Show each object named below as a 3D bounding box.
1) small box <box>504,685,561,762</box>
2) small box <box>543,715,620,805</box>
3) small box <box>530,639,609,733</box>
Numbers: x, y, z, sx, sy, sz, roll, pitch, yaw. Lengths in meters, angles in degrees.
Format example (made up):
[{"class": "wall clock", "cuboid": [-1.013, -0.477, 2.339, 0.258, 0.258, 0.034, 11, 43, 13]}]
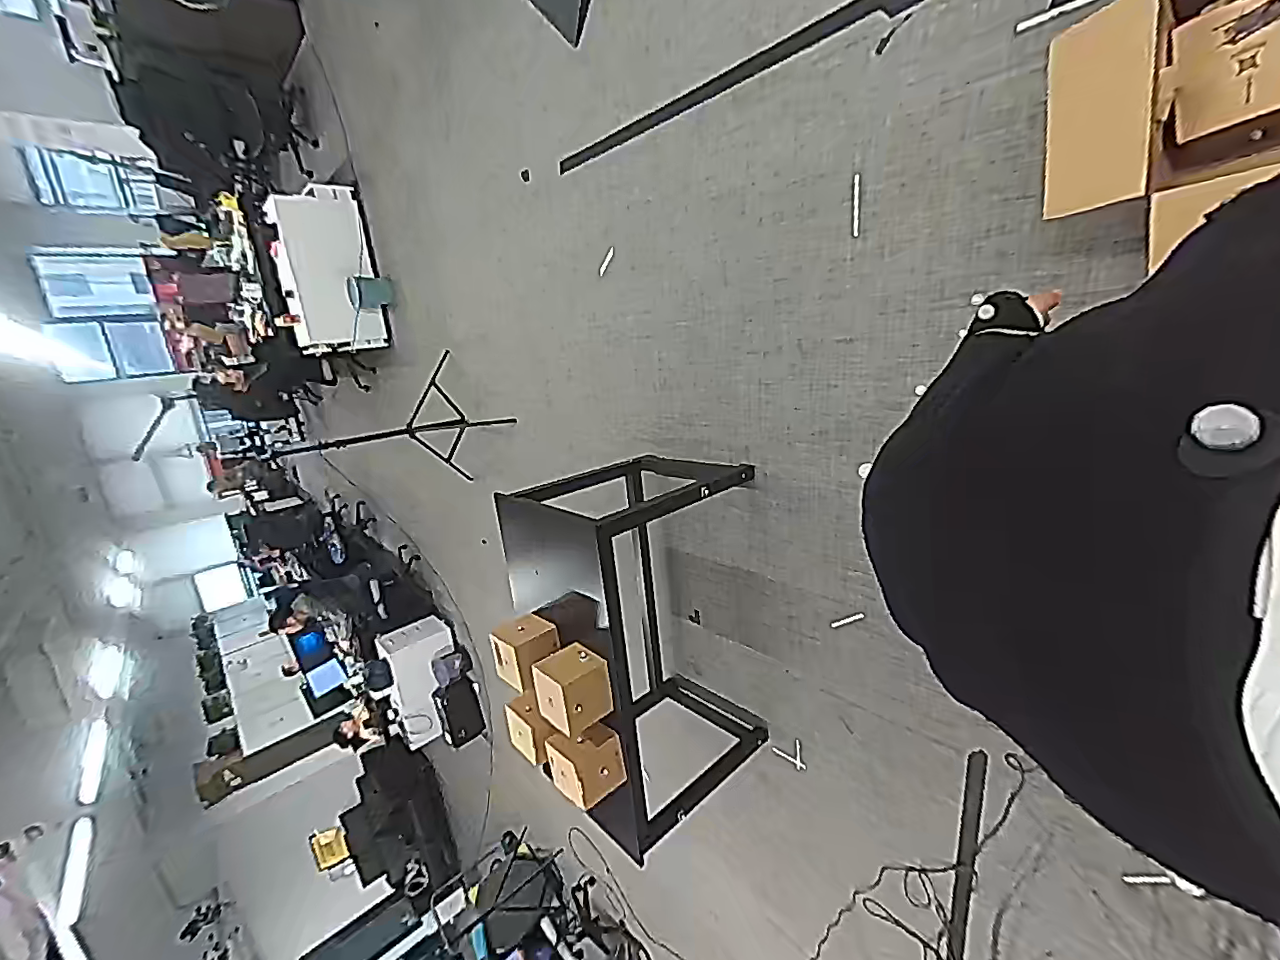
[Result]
[{"class": "small box", "cuboid": [-0.353, 0.836, 1.898, 0.179, 0.176, 0.168, 13, 114, 47]}, {"class": "small box", "cuboid": [-0.176, 0.863, 1.695, 0.179, 0.176, 0.168, 2, 106, 49]}, {"class": "small box", "cuboid": [-0.208, 0.614, 1.636, 0.168, 0.176, 0.179, 10, 111, 48]}]
